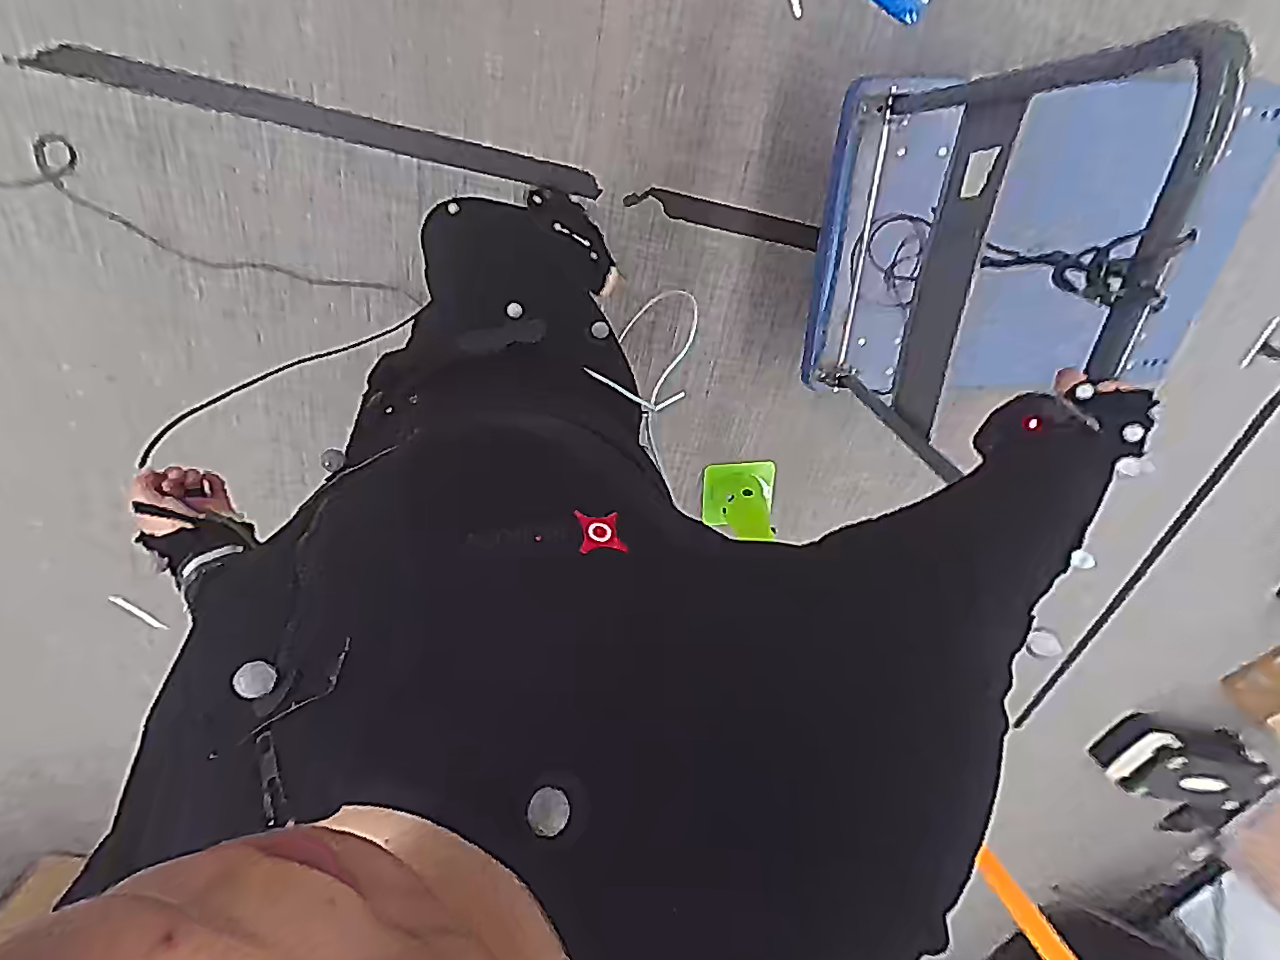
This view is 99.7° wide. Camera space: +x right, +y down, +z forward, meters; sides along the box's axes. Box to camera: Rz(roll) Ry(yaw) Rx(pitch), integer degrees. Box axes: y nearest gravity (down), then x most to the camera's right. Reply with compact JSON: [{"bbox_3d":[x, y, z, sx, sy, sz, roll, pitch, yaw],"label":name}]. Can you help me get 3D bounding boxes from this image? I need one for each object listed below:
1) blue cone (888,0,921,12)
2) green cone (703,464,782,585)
[{"bbox_3d":[0.487,-0.901,0.821,0.192,0.380,0.193,22,115,-17],"label":"blue cone"},{"bbox_3d":[0.291,0.130,1.363,0.202,0.368,0.200,-4,120,-3],"label":"green cone"}]
